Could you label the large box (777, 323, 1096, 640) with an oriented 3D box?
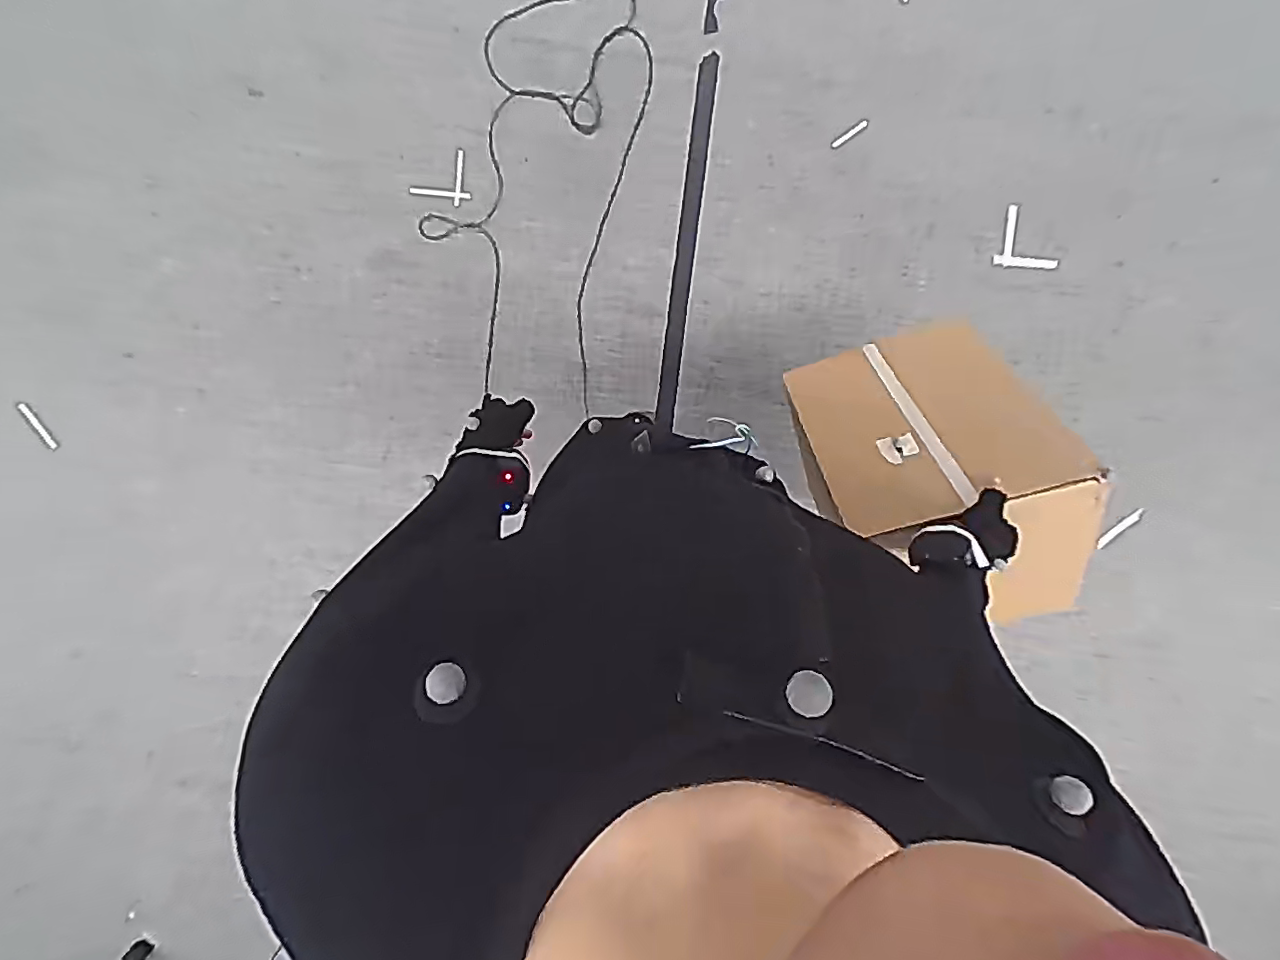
[{"bbox_3d":[0.460,0.001,0.936,0.320,0.408,0.320,-18,133,13],"label":"large box"}]
